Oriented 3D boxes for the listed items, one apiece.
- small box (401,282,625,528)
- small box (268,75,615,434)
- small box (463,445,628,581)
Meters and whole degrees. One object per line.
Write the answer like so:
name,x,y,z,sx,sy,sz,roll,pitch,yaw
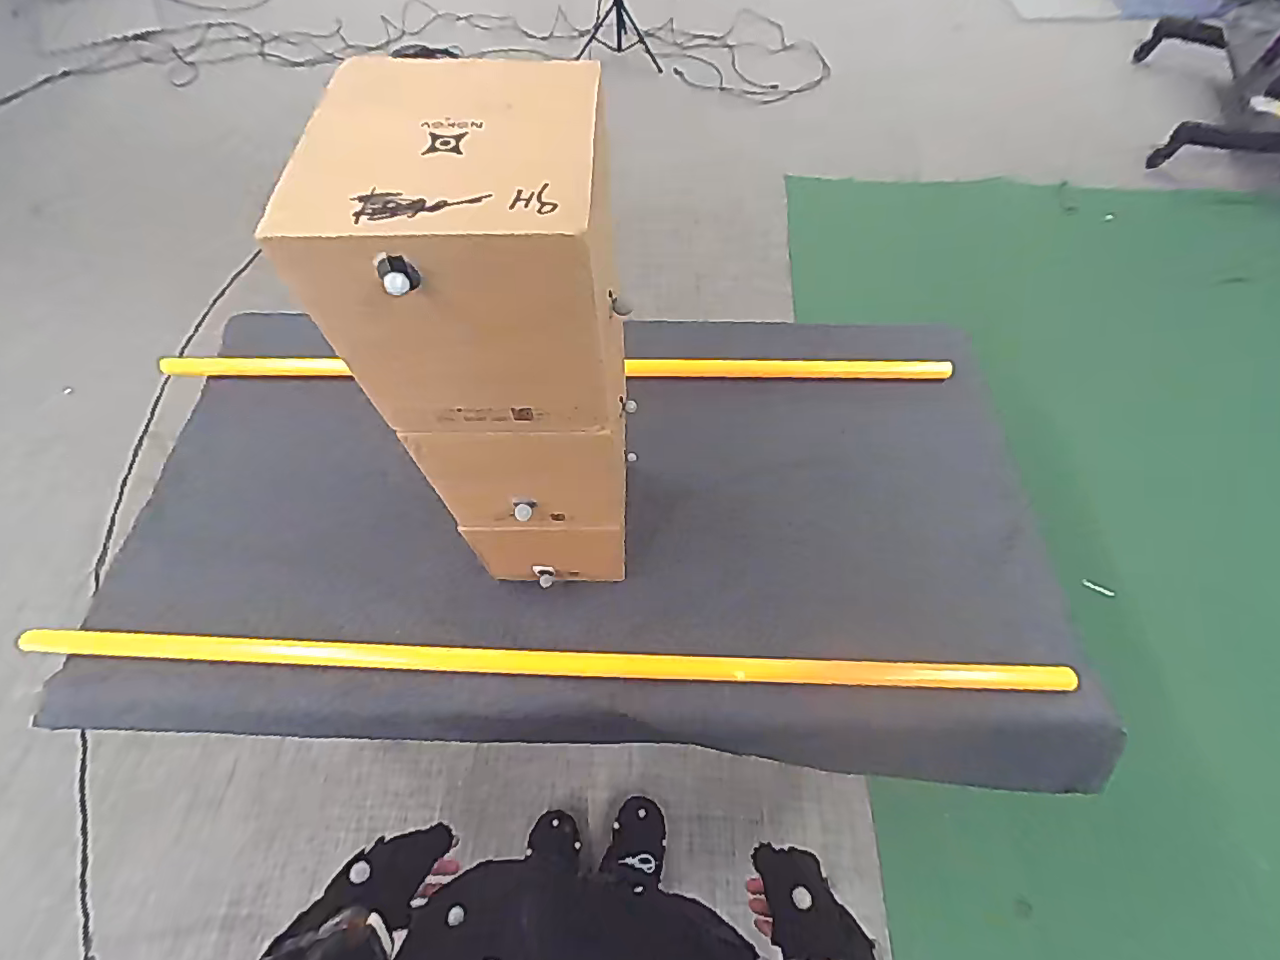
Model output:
small box,-0.102,-0.069,0.525,0.168,0.176,0.179,0,61,1
small box,-0.107,-0.152,0.384,0.168,0.176,0.179,-1,60,2
small box,-0.101,0.015,0.667,0.168,0.176,0.179,-1,62,1
